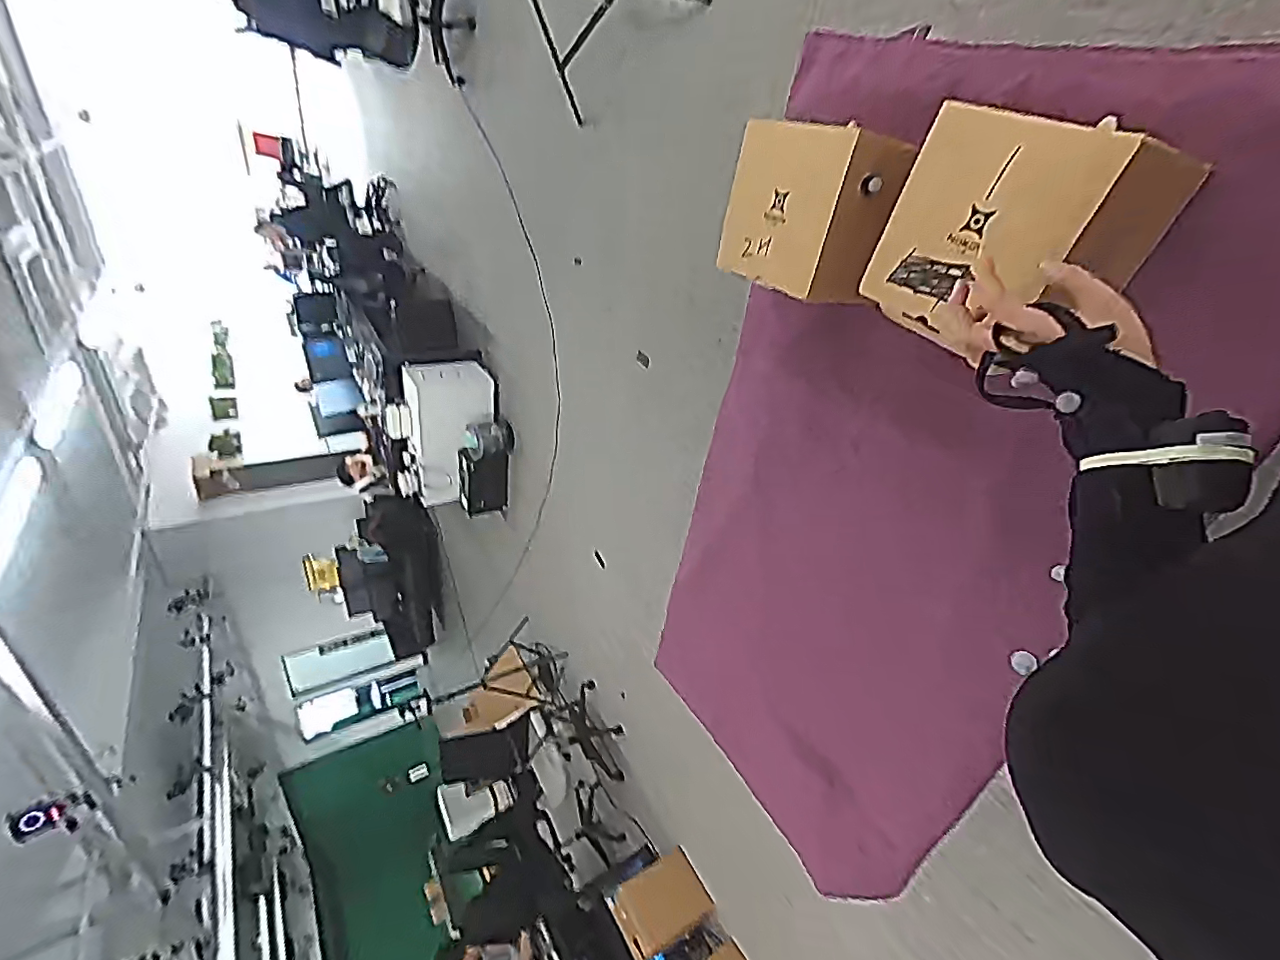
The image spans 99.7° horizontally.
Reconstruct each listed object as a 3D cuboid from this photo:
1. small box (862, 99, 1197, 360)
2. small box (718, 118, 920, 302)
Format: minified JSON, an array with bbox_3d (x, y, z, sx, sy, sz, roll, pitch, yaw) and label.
[{"bbox_3d":[0.359,-0.233,0.515,0.168,0.176,0.179,50,139,39],"label":"small box"},{"bbox_3d":[0.230,-0.336,0.684,0.168,0.176,0.179,43,134,42],"label":"small box"}]
